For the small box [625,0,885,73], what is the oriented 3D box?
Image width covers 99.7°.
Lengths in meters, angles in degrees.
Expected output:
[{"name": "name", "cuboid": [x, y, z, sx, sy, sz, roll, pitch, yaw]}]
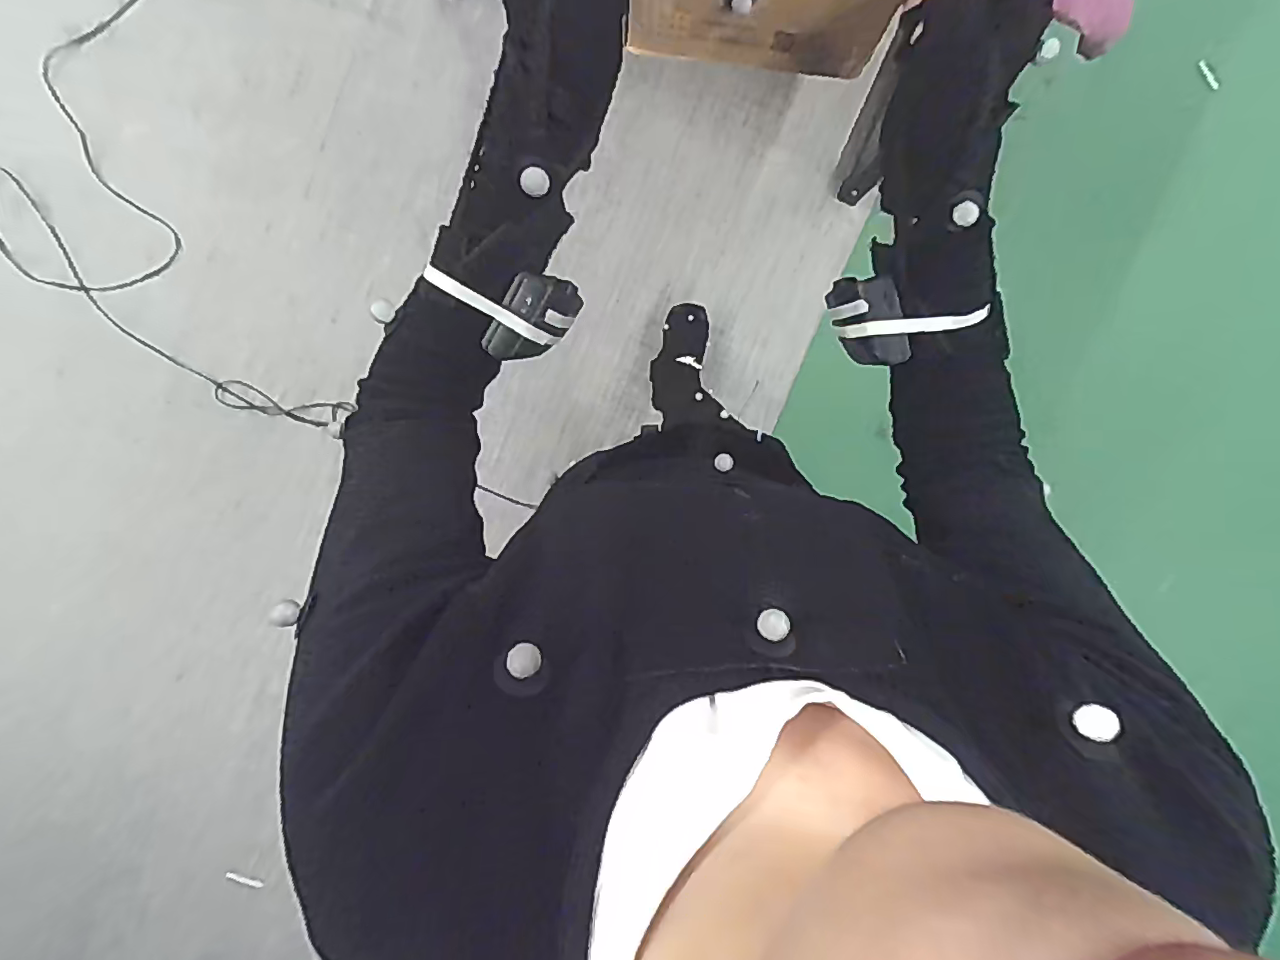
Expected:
[{"name": "small box", "cuboid": [0.080, -0.385, 0.304, 0.168, 0.176, 0.179, 4, 89, -3]}]
